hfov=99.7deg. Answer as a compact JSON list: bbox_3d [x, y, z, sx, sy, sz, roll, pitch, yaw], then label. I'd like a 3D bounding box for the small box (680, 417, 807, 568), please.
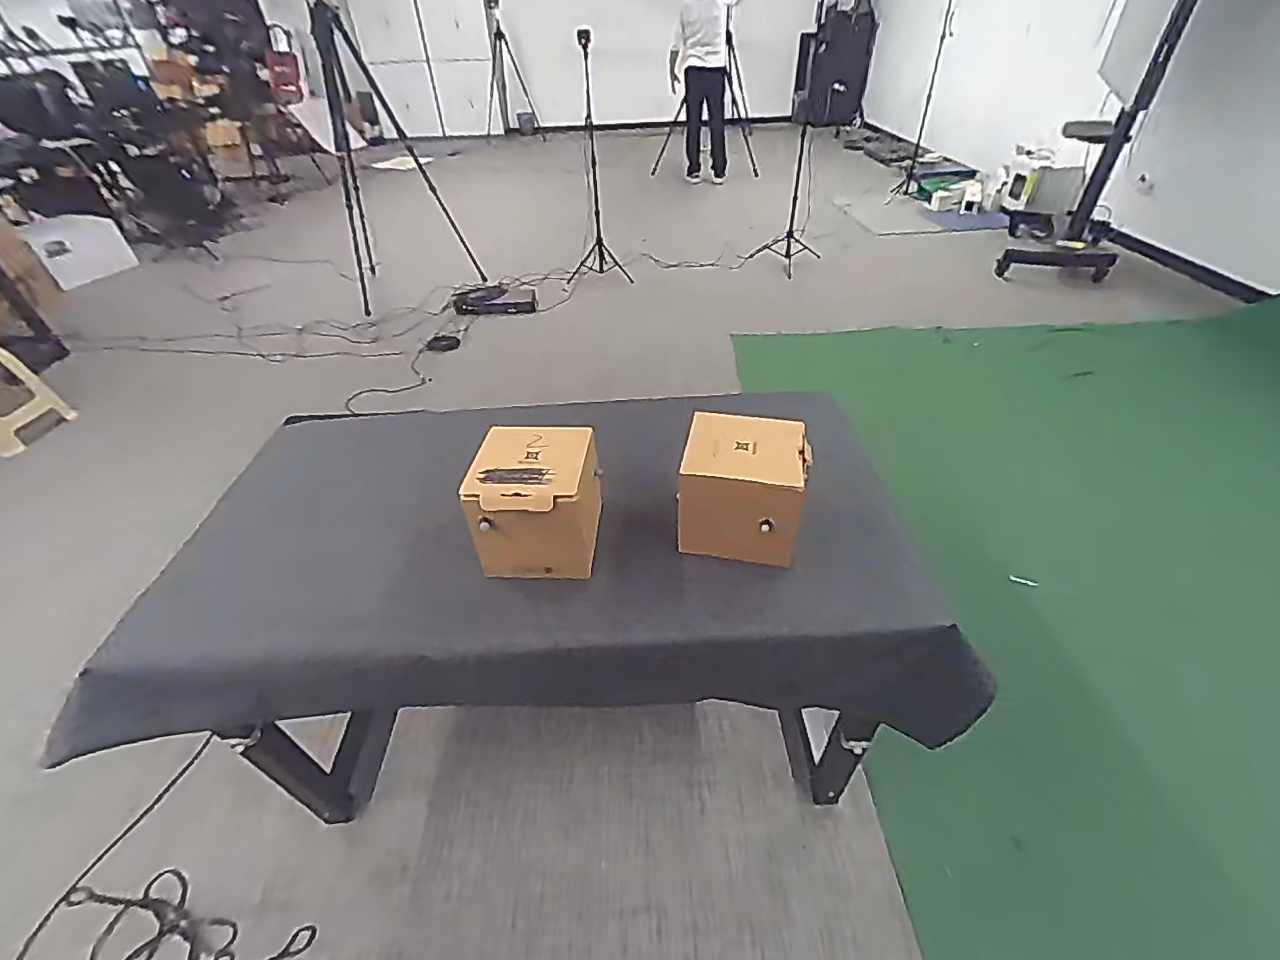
[{"bbox_3d":[0.163,0.021,0.861,0.179,0.176,0.168,6,40,11],"label":"small box"}]
